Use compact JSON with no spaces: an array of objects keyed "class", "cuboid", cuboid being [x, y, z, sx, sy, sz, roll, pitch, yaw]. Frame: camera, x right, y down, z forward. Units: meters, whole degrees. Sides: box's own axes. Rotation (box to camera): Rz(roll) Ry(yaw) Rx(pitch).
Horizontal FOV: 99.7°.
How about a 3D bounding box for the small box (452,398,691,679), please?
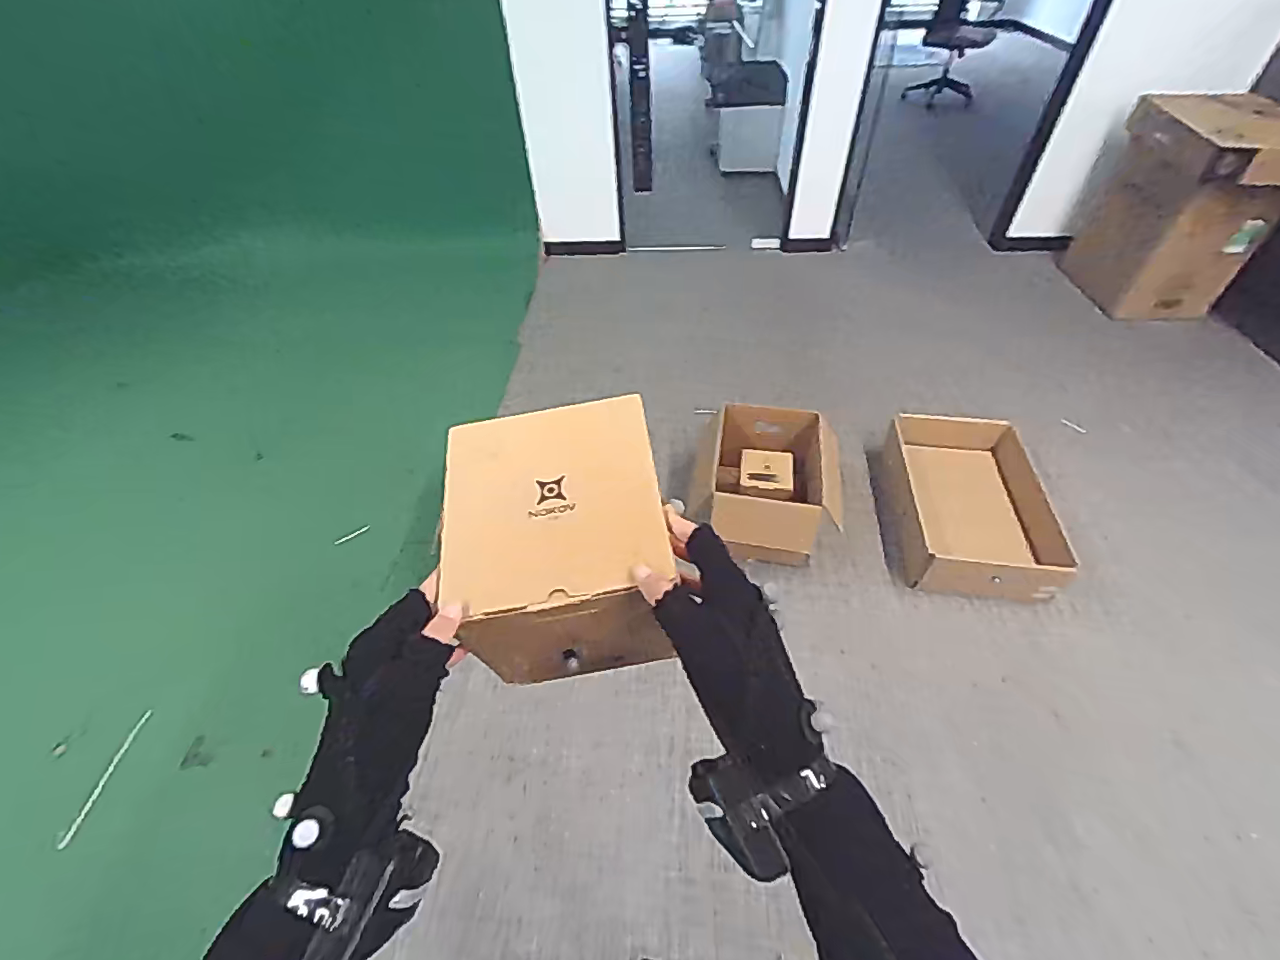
[{"class":"small box","cuboid":[-0.051,0.057,0.480,0.168,0.176,0.179,-10,56,0]}]
